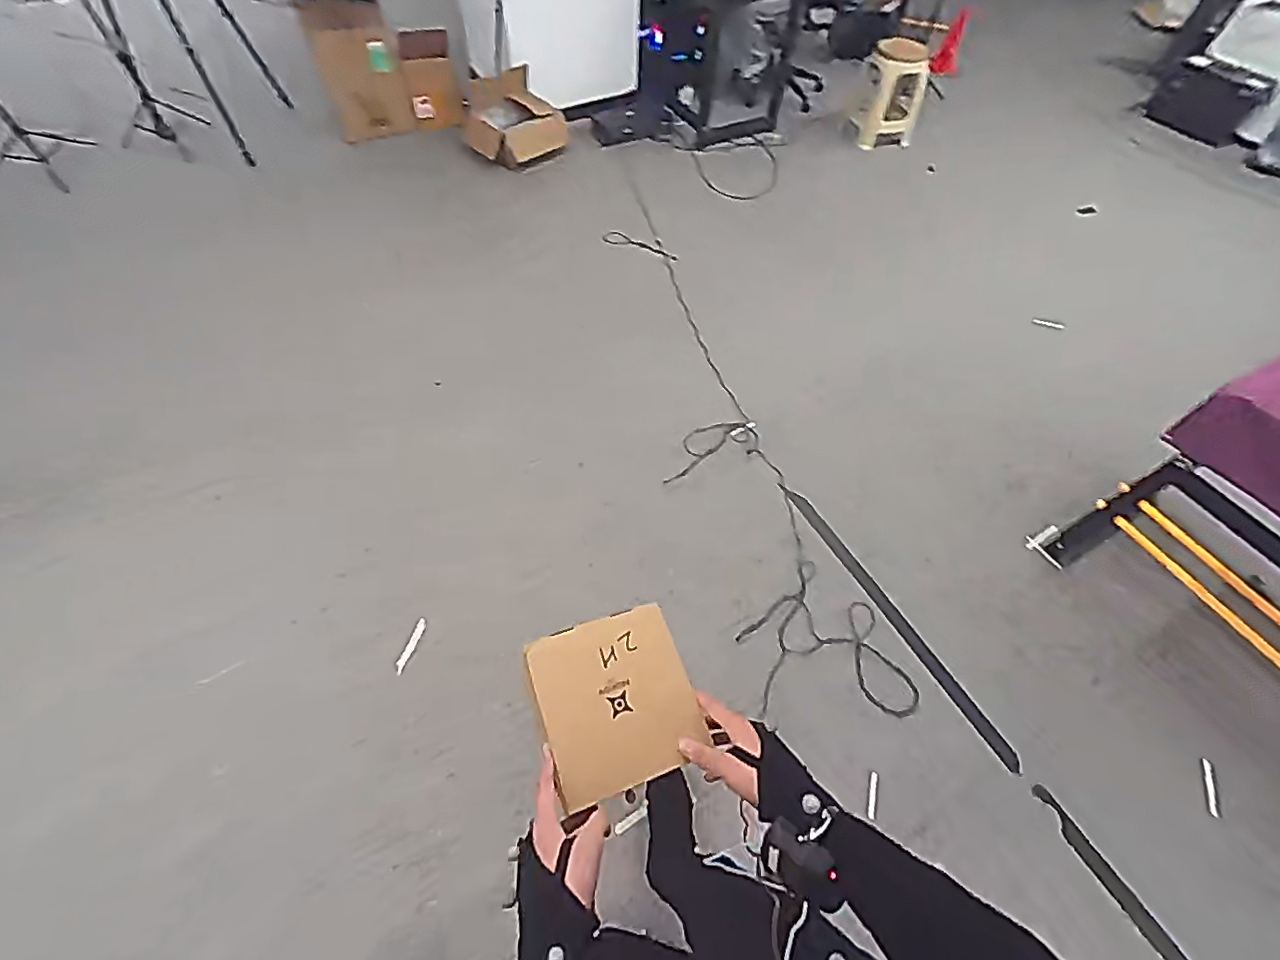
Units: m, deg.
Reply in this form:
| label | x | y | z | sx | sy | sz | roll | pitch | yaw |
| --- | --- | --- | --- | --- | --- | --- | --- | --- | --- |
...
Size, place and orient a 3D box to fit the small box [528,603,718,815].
| label | x | y | z | sx | sy | sz | roll | pitch | yaw |
| --- | --- | --- | --- | --- | --- | --- | --- | --- | --- |
| small box | -0.033 | 0.276 | 0.651 | 0.168 | 0.176 | 0.179 | -13 | 61 | -20 |
